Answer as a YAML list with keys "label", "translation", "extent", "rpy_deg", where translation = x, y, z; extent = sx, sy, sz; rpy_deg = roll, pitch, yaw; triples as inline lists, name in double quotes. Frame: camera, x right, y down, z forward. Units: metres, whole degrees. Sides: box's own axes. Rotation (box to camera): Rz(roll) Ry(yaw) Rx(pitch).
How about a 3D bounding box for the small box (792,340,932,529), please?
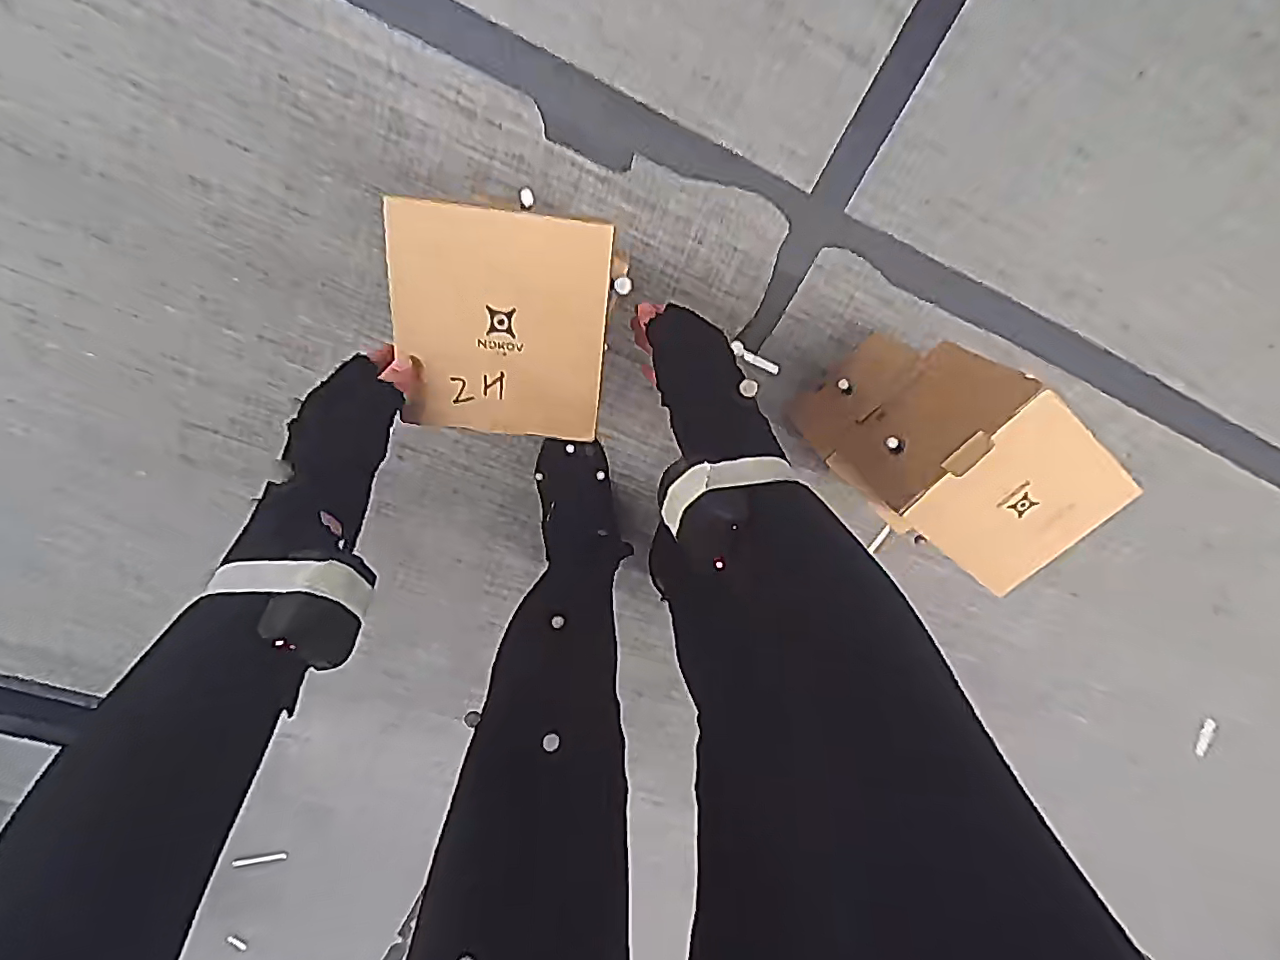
- label: "small box"
  translation: [0.340, -0.072, 0.742]
  extent: [0.179, 0.176, 0.168]
  rpy_deg: [36, 110, -20]

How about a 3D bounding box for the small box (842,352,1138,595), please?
- label: "small box"
  translation: [0.355, -0.018, 0.585]
  extent: [0.179, 0.176, 0.168]
  rpy_deg: [34, 112, -20]

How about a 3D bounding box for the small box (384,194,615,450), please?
- label: "small box"
  translation: [-0.117, -0.151, 0.495]
  extent: [0.168, 0.176, 0.179]
  rpy_deg: [9, 119, -5]
